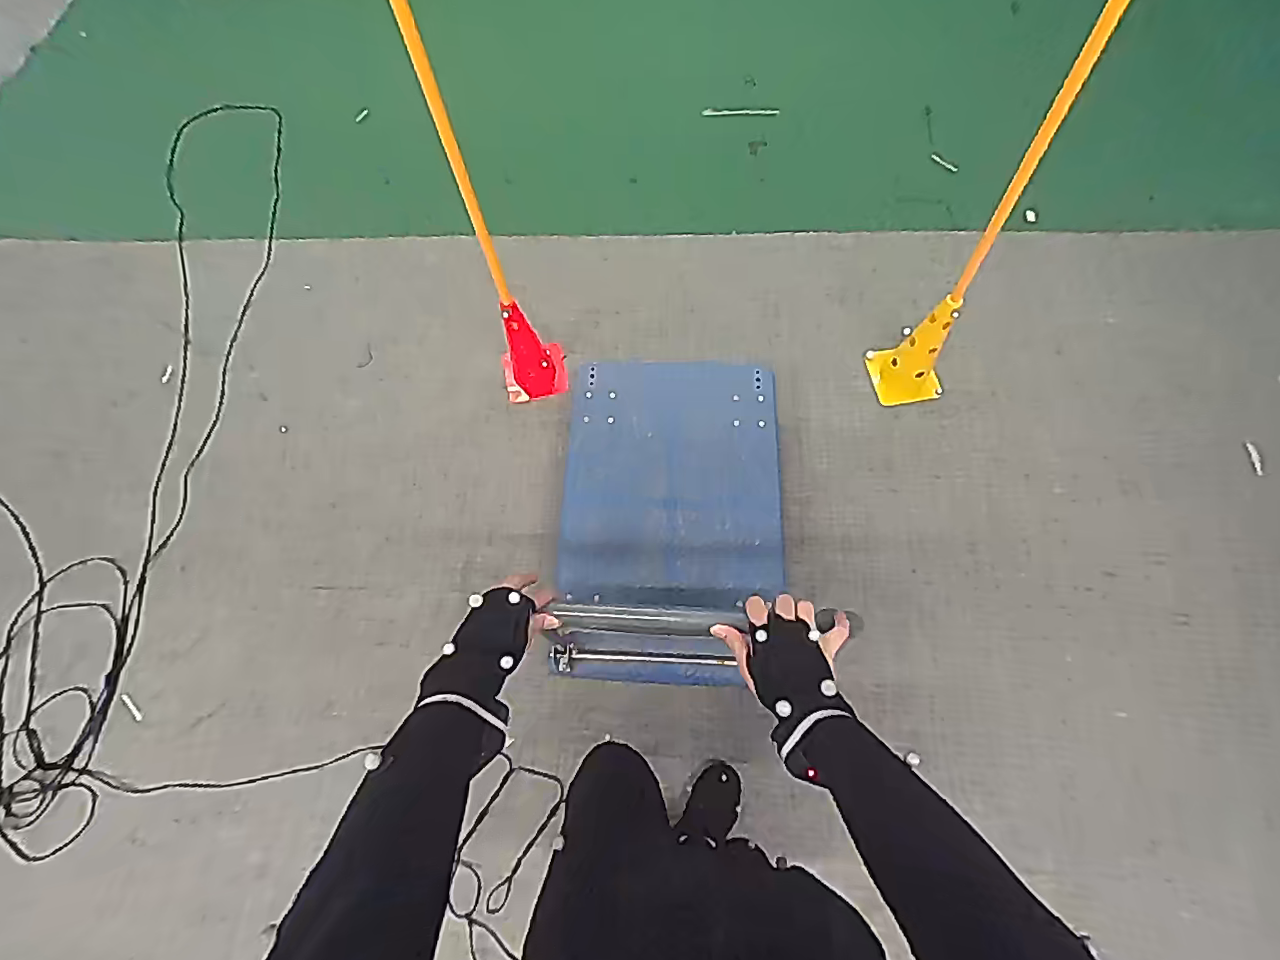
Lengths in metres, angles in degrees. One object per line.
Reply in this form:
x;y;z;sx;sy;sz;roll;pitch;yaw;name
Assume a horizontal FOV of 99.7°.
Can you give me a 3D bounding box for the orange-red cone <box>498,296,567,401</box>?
-0.360;-0.421;1.631;0.199;0.360;0.198;-13;68;-1;orange-red cone
